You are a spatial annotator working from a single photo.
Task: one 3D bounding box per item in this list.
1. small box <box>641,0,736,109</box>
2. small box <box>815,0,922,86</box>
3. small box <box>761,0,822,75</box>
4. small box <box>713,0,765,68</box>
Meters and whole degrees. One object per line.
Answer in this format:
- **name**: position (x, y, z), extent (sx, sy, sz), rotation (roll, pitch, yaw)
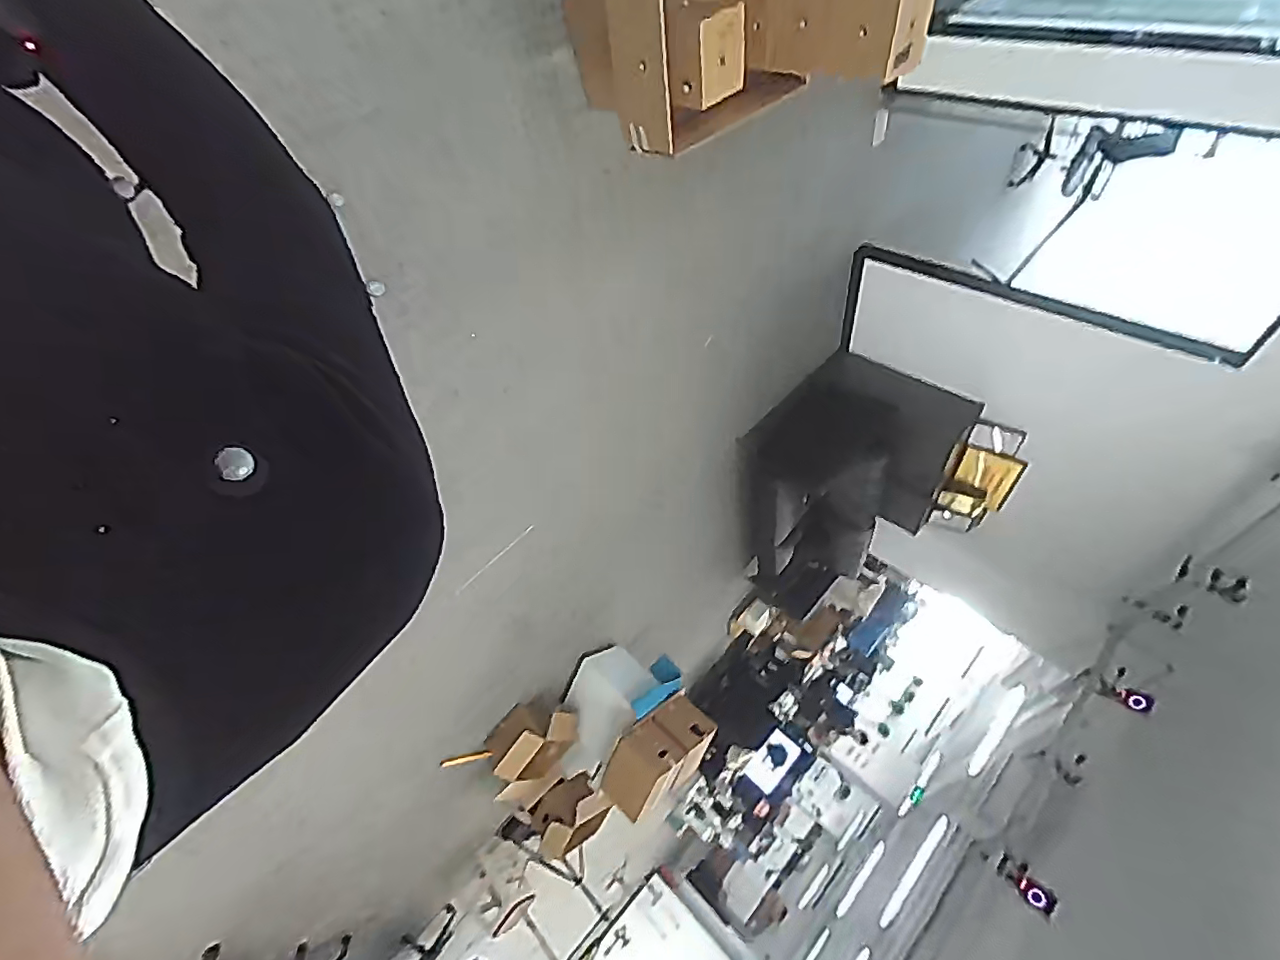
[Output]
- **small box**: position (0.121, -1.066, 1.351), extent (0.168, 0.176, 0.179), rotation (-43, 148, -23)
- **small box**: position (0.541, -1.078, 1.292), extent (0.168, 0.176, 0.179), rotation (-40, 146, -24)
- **small box**: position (0.424, -1.161, 1.374), extent (0.168, 0.176, 0.179), rotation (-39, 145, -24)
- **small box**: position (0.305, -1.240, 1.454), extent (0.168, 0.176, 0.179), rotation (-39, 147, -25)
